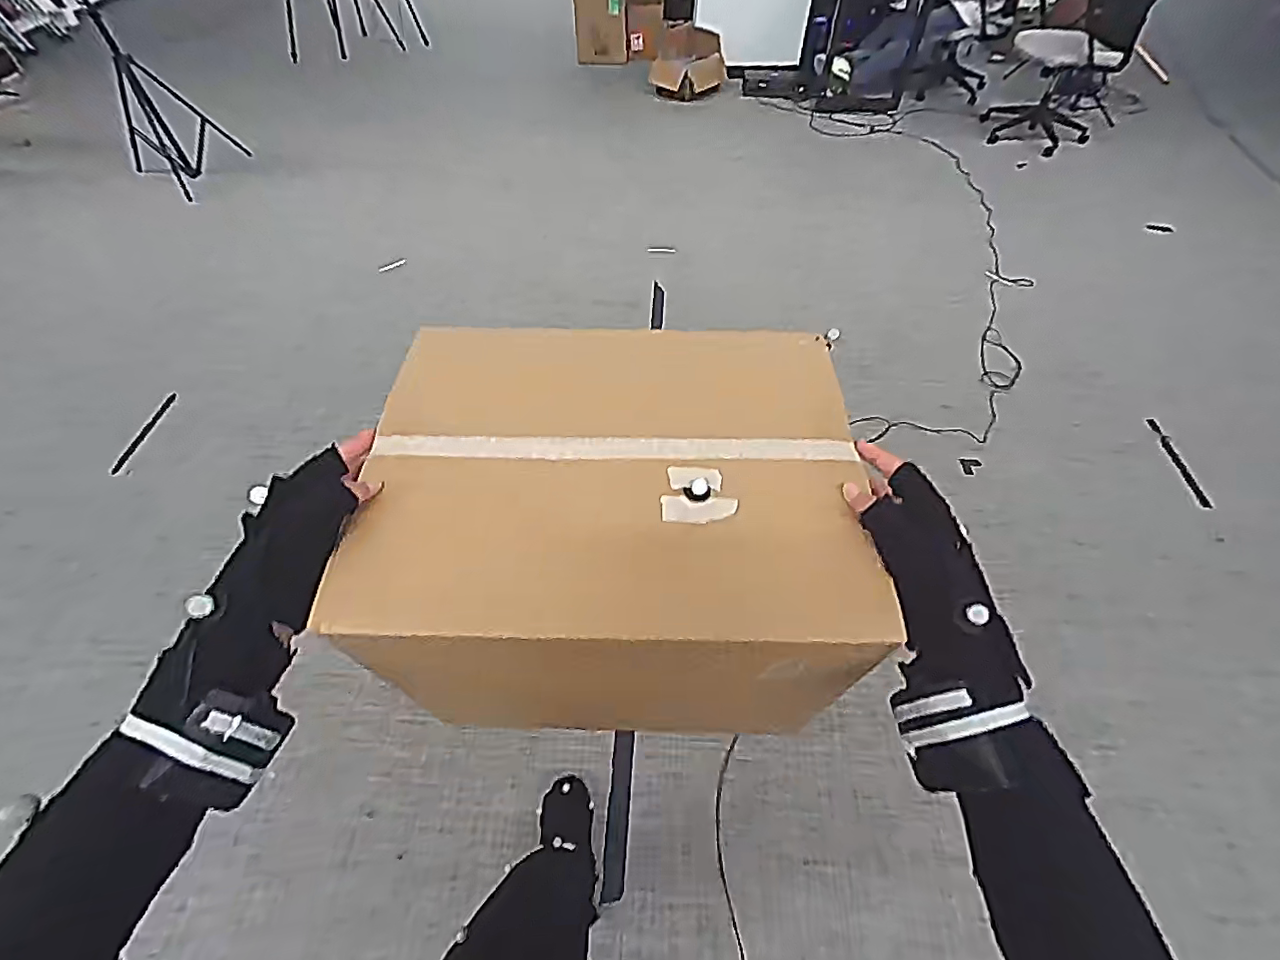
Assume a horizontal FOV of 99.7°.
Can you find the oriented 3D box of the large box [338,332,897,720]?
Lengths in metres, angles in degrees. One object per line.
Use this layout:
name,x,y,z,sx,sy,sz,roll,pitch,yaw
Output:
large box,-0.017,0.062,0.584,0.408,0.320,0.320,1,55,0
